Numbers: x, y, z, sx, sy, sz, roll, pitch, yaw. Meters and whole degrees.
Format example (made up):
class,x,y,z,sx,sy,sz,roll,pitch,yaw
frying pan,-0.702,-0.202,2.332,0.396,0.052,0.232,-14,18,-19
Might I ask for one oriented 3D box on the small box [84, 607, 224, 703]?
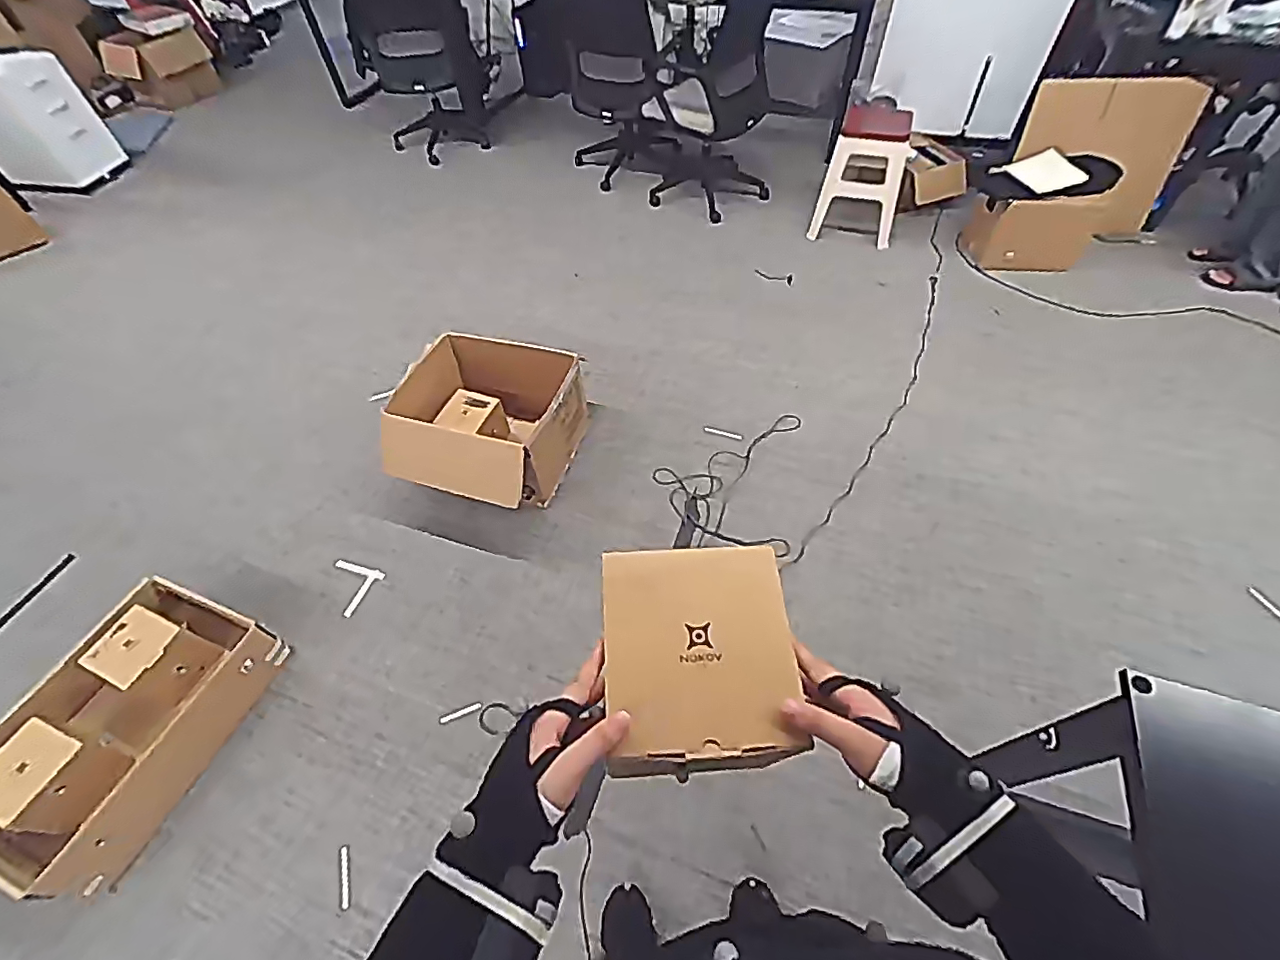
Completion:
class,x,y,z,sx,sy,sz,roll,pitch,yaw
small box,-1.256,0.464,1.413,0.179,0.176,0.168,19,57,14

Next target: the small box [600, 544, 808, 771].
class,x,y,z,sx,sy,sz,roll,pitch,yaw
small box,0.044,0.179,0.535,0.168,0.176,0.179,-2,59,-4

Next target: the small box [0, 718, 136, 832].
class,x,y,z,sx,sy,sz,roll,pitch,yaw
small box,-1.349,0.686,1.251,0.168,0.176,0.179,17,54,12
